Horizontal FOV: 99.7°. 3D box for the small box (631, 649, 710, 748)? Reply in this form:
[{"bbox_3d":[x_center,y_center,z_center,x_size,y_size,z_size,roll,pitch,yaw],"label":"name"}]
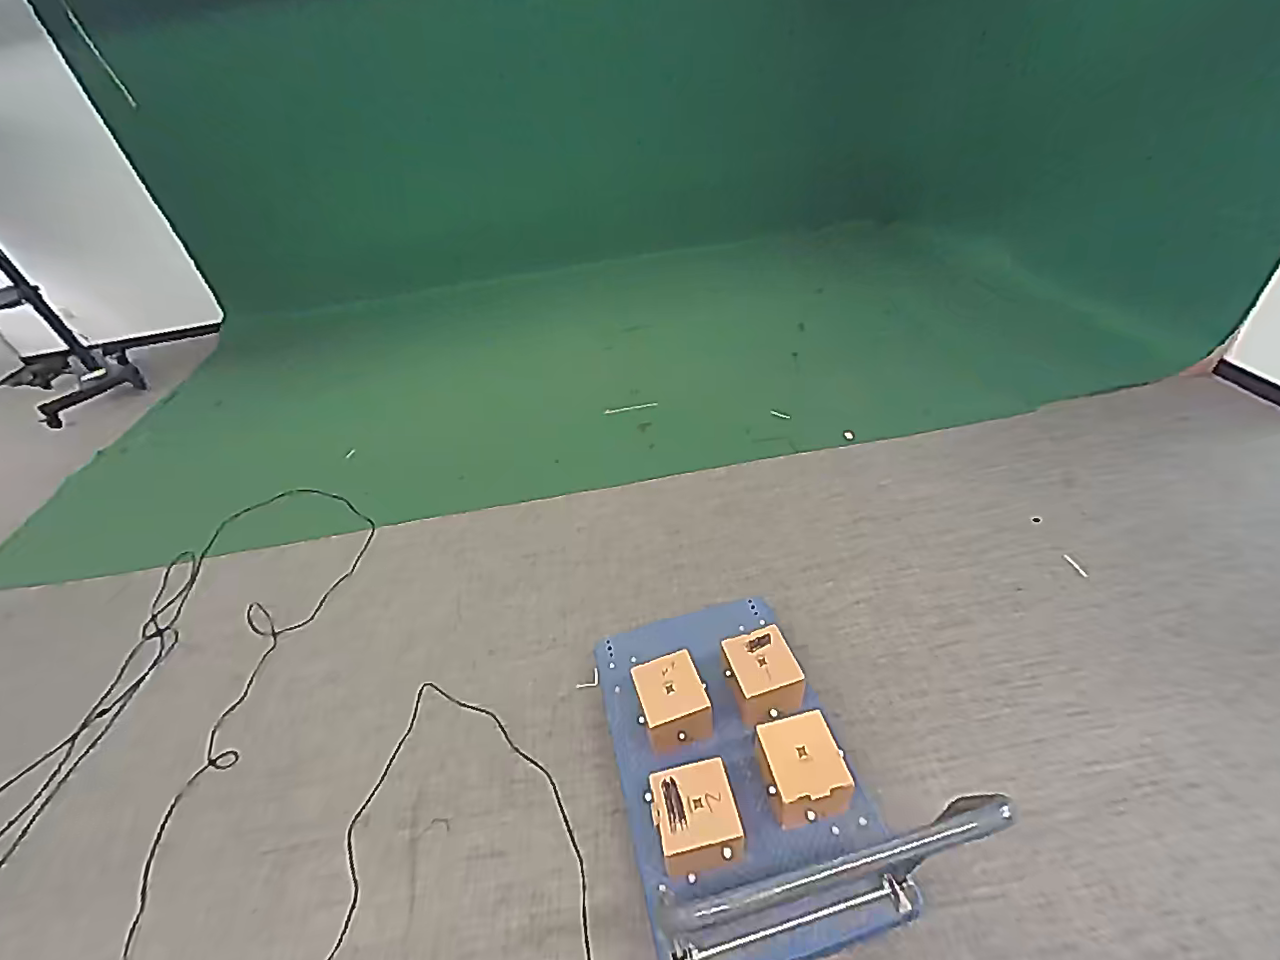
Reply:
[{"bbox_3d":[0.084,0.592,1.452,0.168,0.176,0.179,-15,41,-9],"label":"small box"}]

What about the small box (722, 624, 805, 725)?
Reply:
[{"bbox_3d":[0.330,0.532,1.478,0.168,0.176,0.179,-15,42,-7],"label":"small box"}]

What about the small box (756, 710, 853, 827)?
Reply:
[{"bbox_3d":[0.381,0.689,1.292,0.168,0.176,0.179,-13,40,-4],"label":"small box"}]
